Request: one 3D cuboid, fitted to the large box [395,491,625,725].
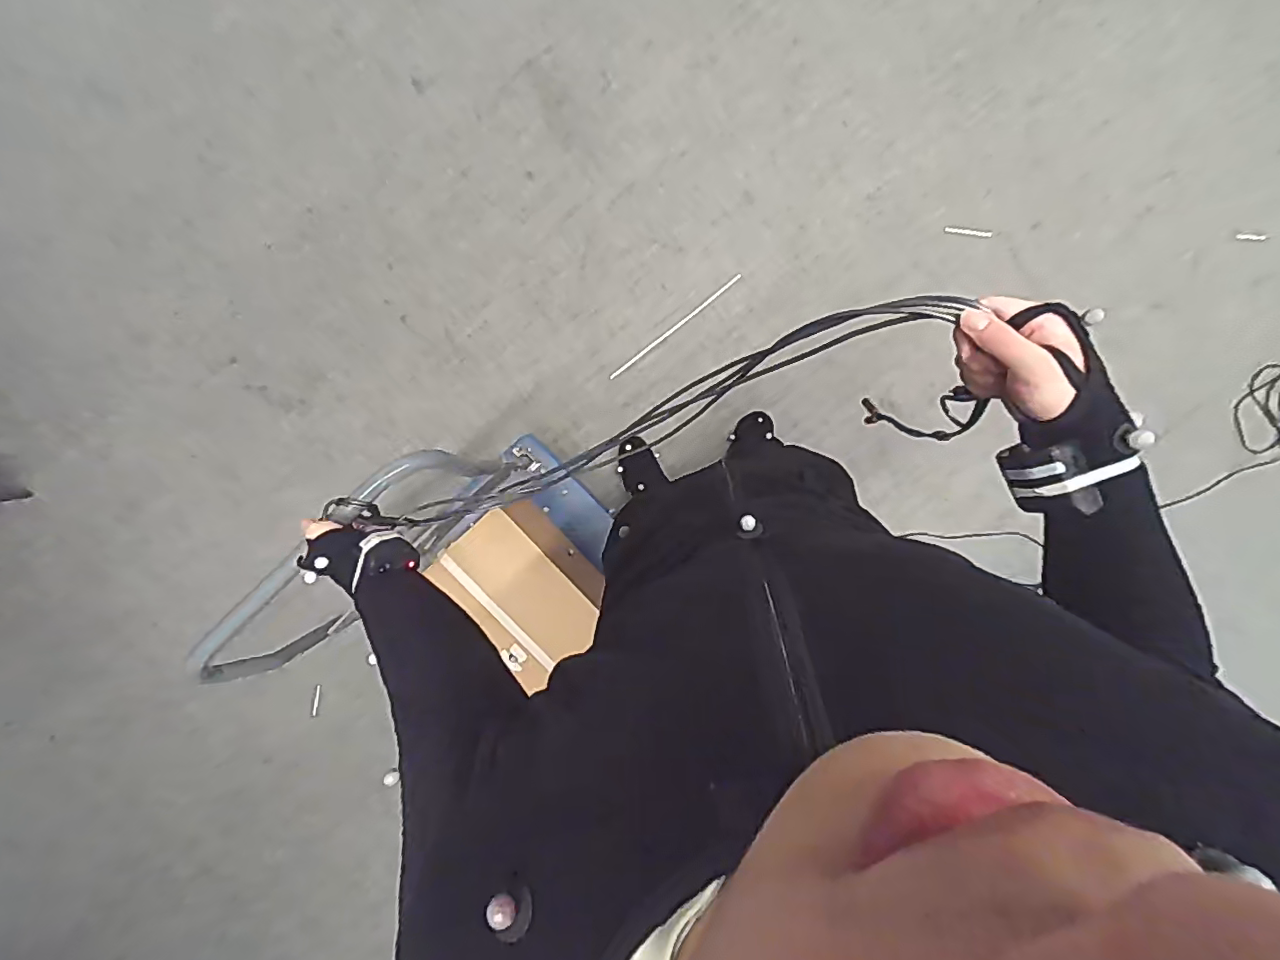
[{"bbox_3d":[-0.287,0.279,1.305,0.320,0.320,0.408,-43,96,1],"label":"large box"}]
